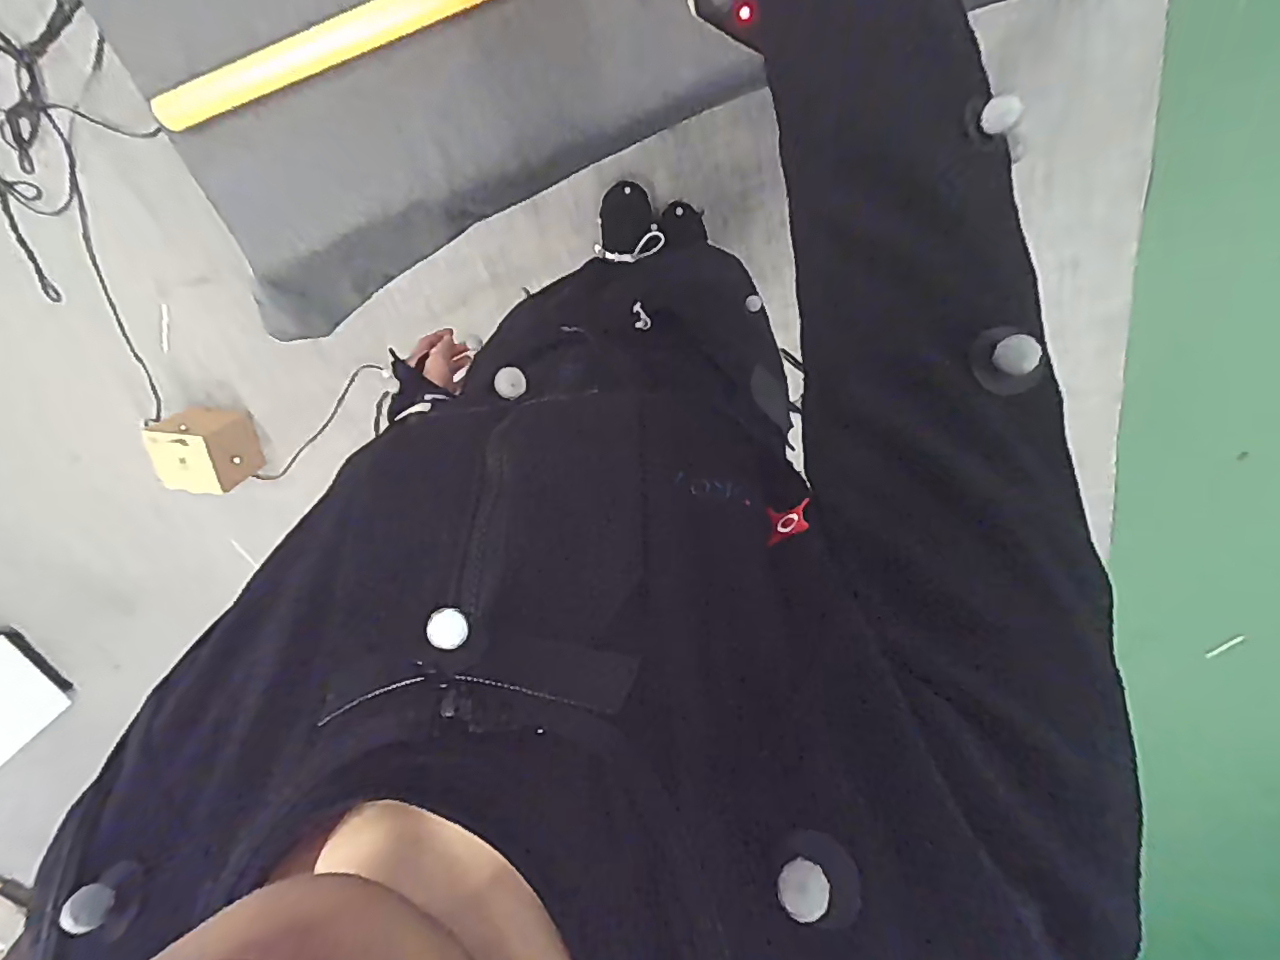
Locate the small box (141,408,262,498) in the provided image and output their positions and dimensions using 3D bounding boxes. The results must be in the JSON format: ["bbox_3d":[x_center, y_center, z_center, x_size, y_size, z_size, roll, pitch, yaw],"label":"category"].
[{"bbox_3d":[-1.169,-0.076,1.461,0.168,0.176,0.179,6,120,3],"label":"small box"}]
